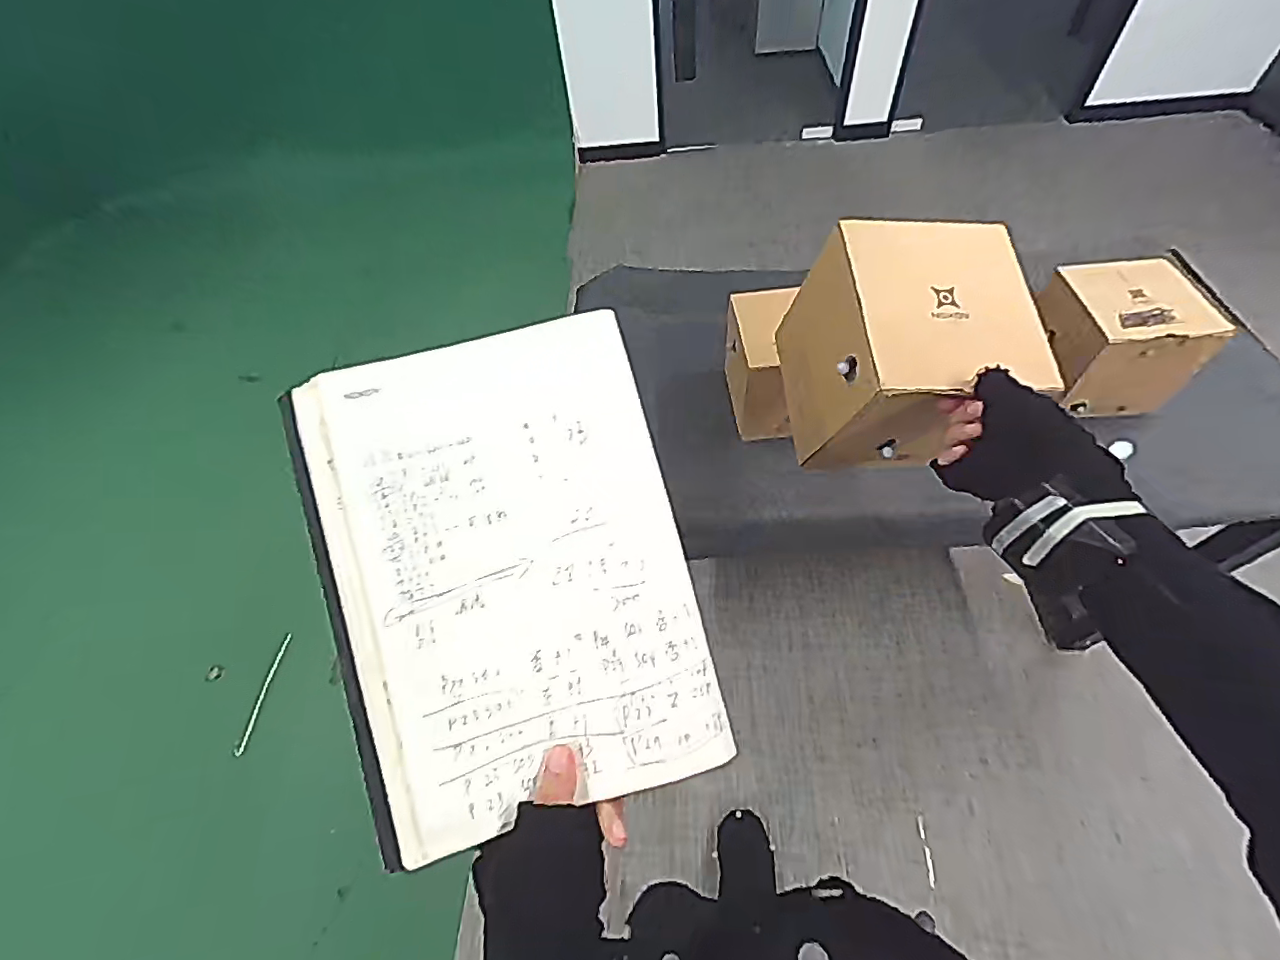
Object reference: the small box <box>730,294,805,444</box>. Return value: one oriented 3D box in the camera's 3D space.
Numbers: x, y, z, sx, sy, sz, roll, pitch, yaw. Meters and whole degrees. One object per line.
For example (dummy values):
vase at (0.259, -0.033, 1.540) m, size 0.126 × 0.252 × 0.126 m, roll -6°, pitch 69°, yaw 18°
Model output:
small box at (0.243, -0.182, 0.889) m, size 0.168 × 0.176 × 0.179 m, roll -6°, pitch 54°, yaw 2°

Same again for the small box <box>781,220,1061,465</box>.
small box at (0.256, -0.127, 0.545) m, size 0.168 × 0.176 × 0.179 m, roll -2°, pitch 70°, yaw -8°

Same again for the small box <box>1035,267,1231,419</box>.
small box at (0.738, -0.210, 0.859) m, size 0.168 × 0.176 × 0.179 m, roll -2°, pitch 53°, yaw 4°
